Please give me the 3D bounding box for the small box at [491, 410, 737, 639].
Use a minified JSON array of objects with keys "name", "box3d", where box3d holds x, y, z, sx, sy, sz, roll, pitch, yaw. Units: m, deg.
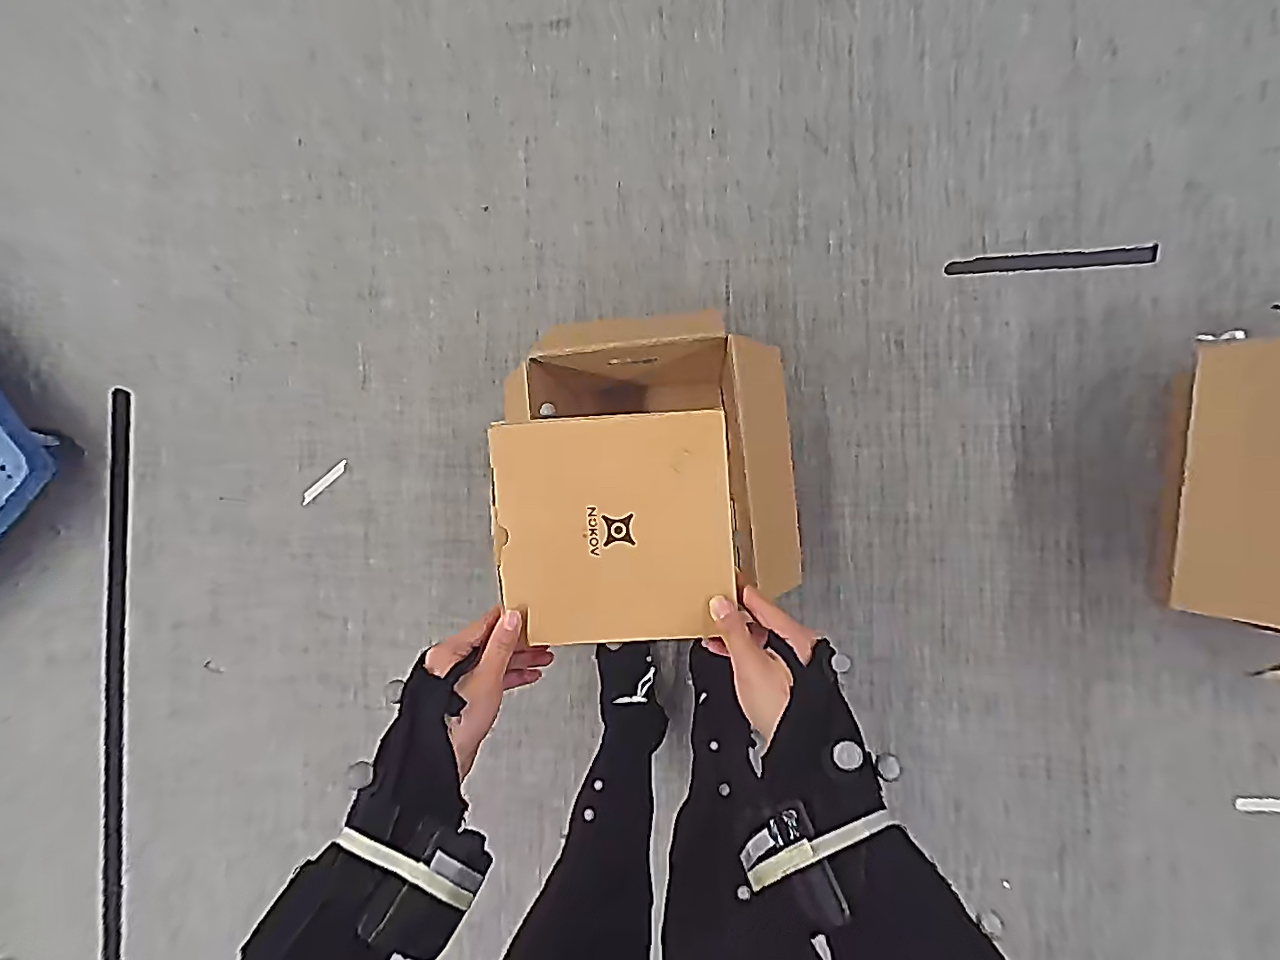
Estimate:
[{"name":"small box","box3d":[-0.016,0.030,0.478,0.179,0.176,0.168,-4,91,4]}]
